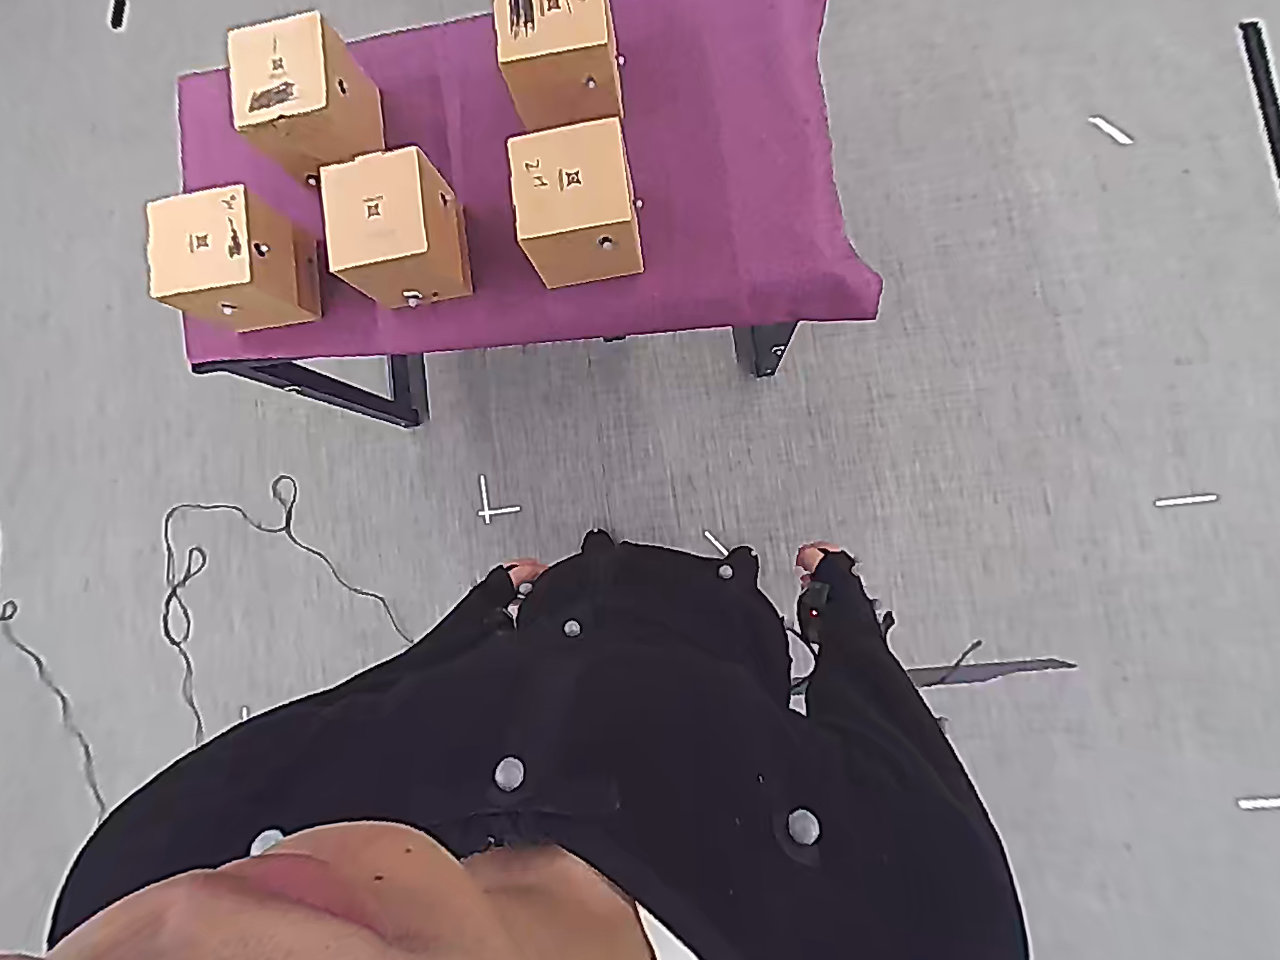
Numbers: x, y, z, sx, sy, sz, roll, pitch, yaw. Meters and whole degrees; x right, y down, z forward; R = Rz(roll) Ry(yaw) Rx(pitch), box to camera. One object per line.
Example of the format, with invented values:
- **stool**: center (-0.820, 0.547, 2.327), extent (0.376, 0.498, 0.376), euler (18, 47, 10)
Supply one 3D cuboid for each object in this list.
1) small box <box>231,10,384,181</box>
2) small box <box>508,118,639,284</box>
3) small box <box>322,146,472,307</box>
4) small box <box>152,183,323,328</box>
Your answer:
- **small box**: center (-0.576, -0.660, 0.956), extent (0.168, 0.176, 0.179), euler (-8, 85, 5)
- **small box**: center (-0.098, -0.443, 0.883), extent (0.179, 0.176, 0.168), euler (-7, 85, 6)
- **small box**: center (-0.403, -0.419, 0.920), extent (0.168, 0.176, 0.179), euler (-8, 87, 6)
- **small box**: center (-0.695, -0.380, 0.947), extent (0.179, 0.176, 0.168), euler (-7, 86, 6)
